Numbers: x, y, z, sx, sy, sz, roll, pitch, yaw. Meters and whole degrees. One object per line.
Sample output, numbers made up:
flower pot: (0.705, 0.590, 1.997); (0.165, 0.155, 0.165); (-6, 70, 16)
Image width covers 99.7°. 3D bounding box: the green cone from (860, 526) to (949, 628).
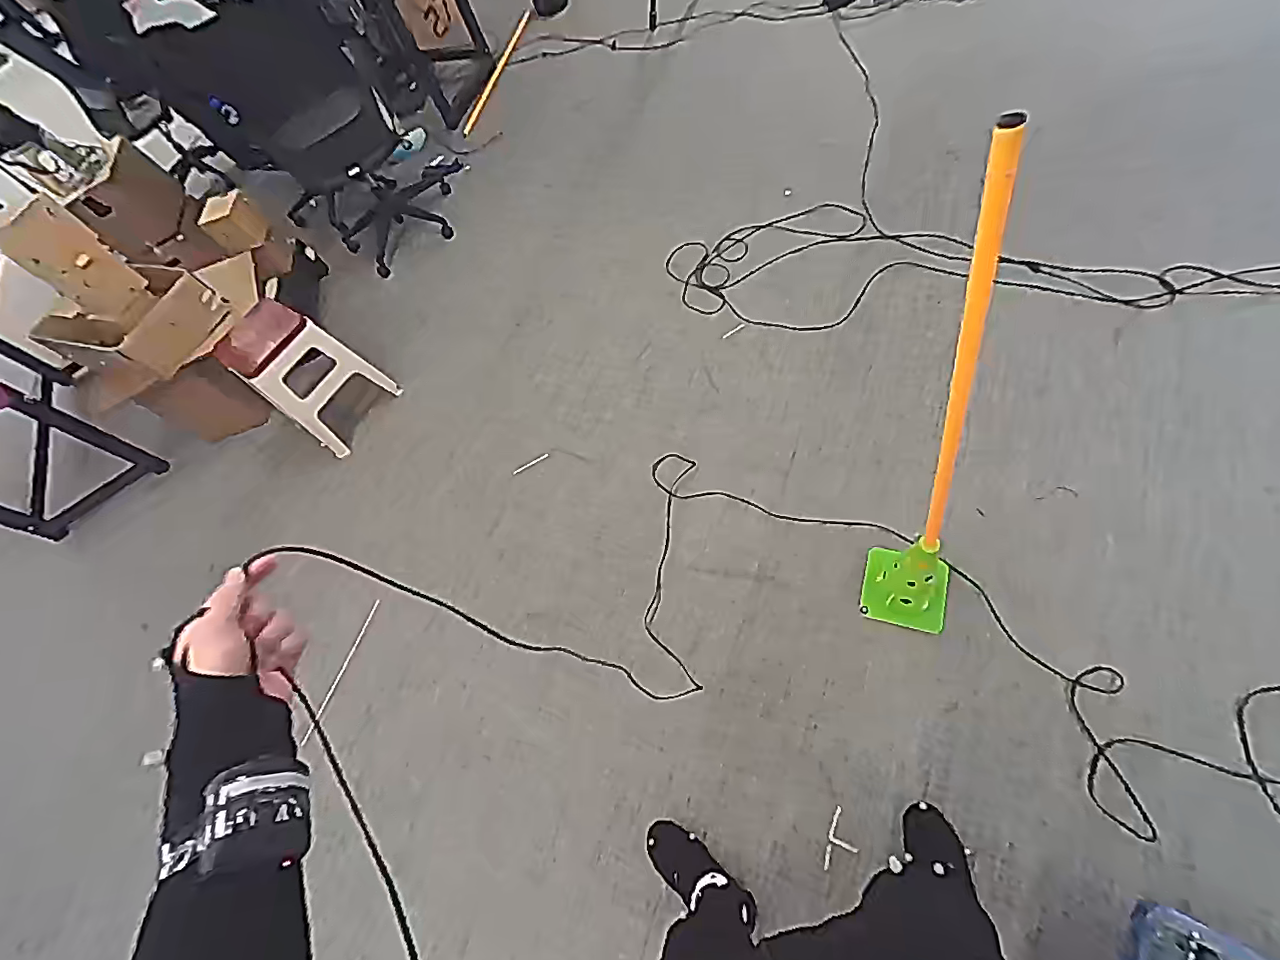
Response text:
green cone: (0.658, 0.199, 1.283); (0.200, 0.368, 0.202); (10, 67, 20)
